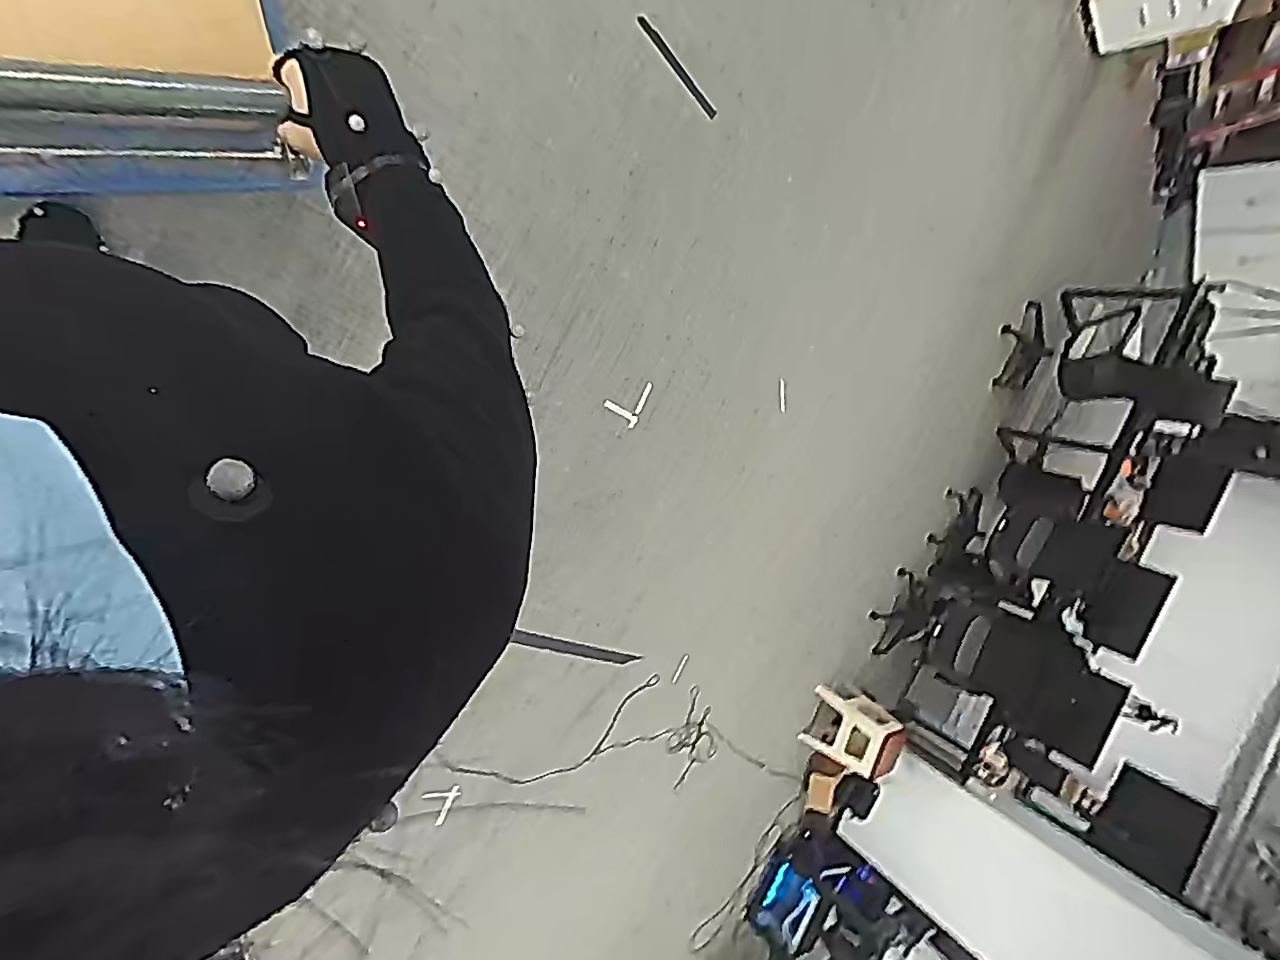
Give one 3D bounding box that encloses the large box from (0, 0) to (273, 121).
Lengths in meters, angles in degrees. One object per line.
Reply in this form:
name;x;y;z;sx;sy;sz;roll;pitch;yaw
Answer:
large box;-0.771;-0.678;0.692;0.408;0.320;0.320;-22;120;-34
